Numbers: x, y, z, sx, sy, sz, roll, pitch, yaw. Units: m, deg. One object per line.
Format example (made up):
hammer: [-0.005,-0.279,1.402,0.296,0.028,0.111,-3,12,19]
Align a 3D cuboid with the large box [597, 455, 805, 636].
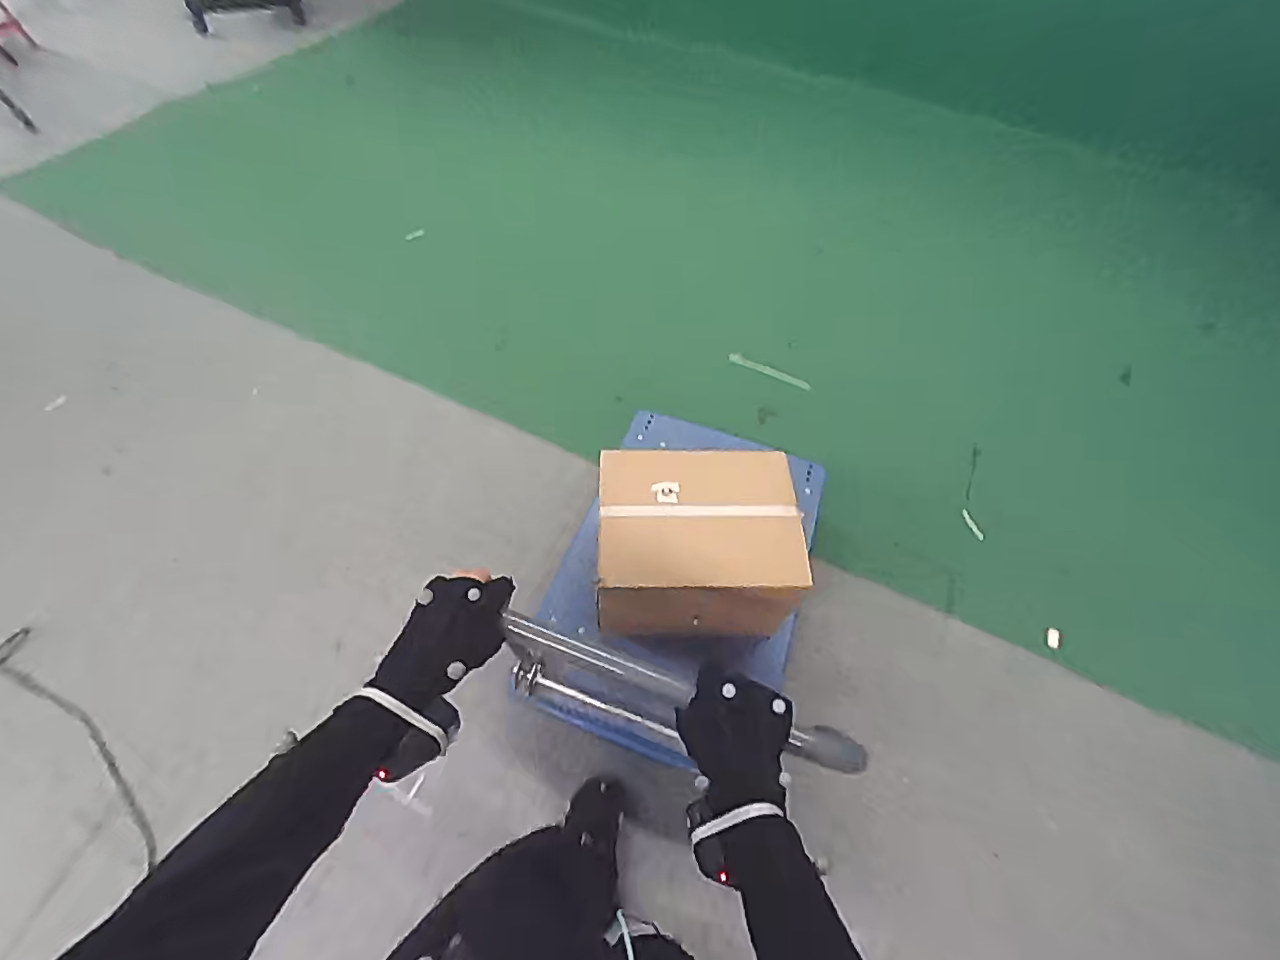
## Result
large box: [0.110,0.156,1.225,0.408,0.320,0.320,0,56,-2]
